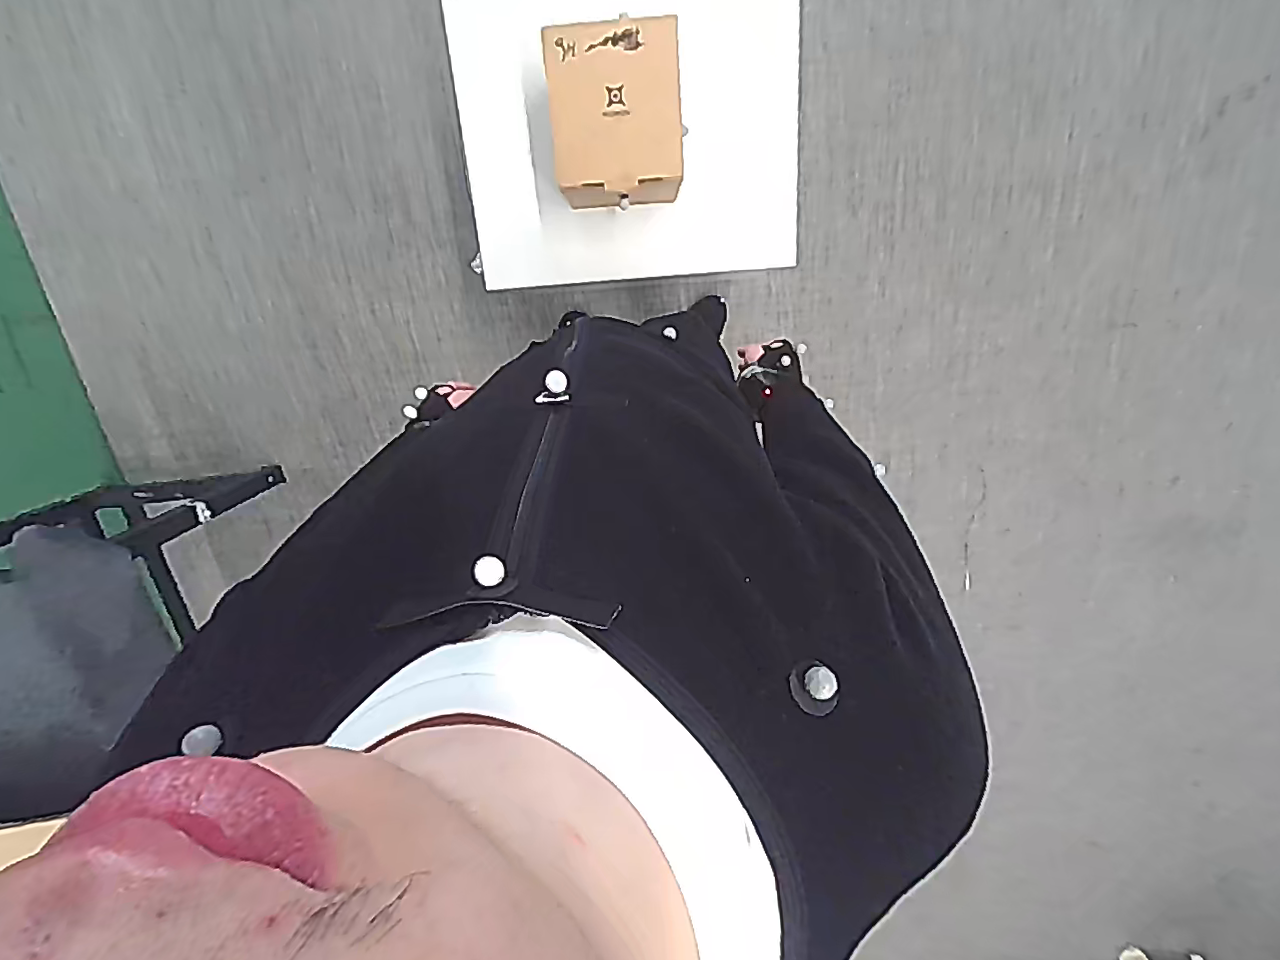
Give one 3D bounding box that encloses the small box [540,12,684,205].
[{"bbox_3d":[-0.030,-0.490,0.745,0.168,0.176,0.179,-6,107,3],"label":"small box"}]
